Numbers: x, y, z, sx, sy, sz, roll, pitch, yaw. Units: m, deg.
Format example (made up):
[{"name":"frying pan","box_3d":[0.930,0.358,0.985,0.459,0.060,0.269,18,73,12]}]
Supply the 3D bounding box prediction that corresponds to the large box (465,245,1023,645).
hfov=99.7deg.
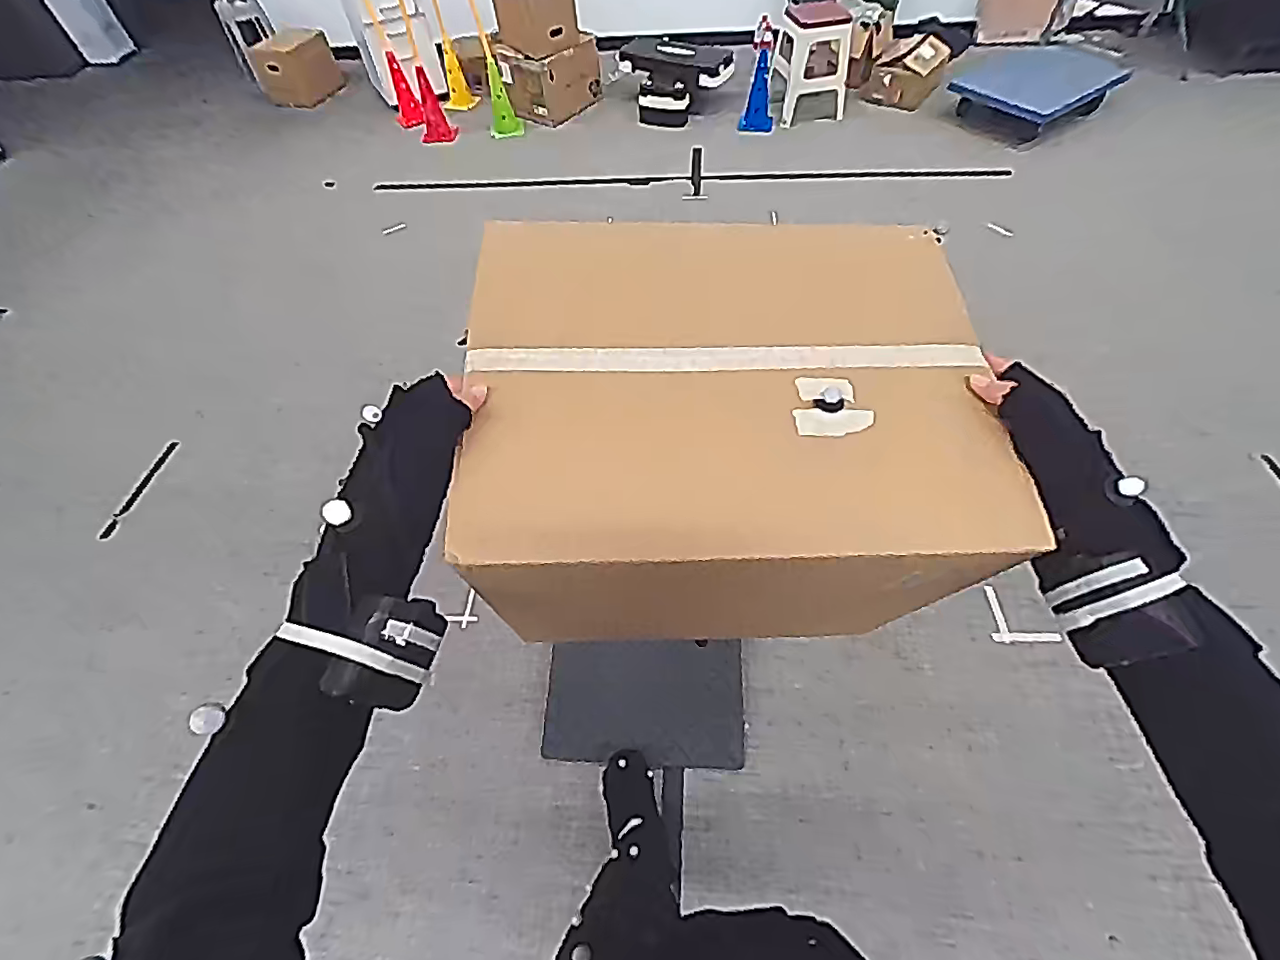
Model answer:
[{"name":"large box","box_3d":[0.062,-0.017,0.572,0.408,0.320,0.320,-1,64,-3]}]

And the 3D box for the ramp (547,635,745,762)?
[{"name":"ramp","box_3d":[0.032,0.222,1.516,0.509,0.206,0.991,0,55,2]}]
